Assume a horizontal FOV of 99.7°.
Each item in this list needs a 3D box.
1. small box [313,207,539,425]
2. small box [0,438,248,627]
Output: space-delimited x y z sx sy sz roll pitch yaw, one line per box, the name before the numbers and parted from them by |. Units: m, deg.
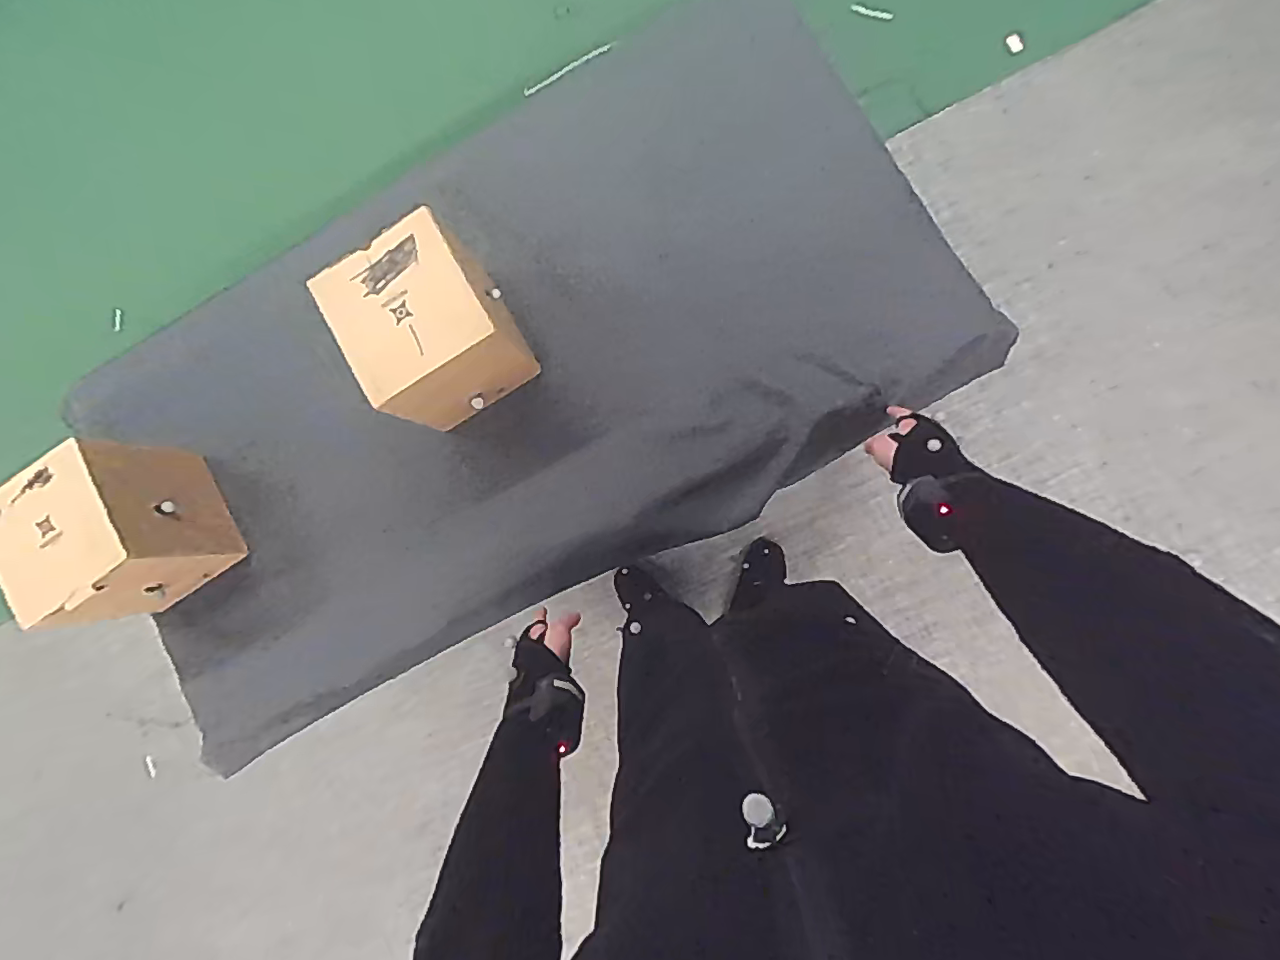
small box | -0.255 -0.190 0.682 0.168 0.176 0.179 -31 83 5
small box | -0.682 0.066 0.724 0.168 0.176 0.179 -33 83 4
